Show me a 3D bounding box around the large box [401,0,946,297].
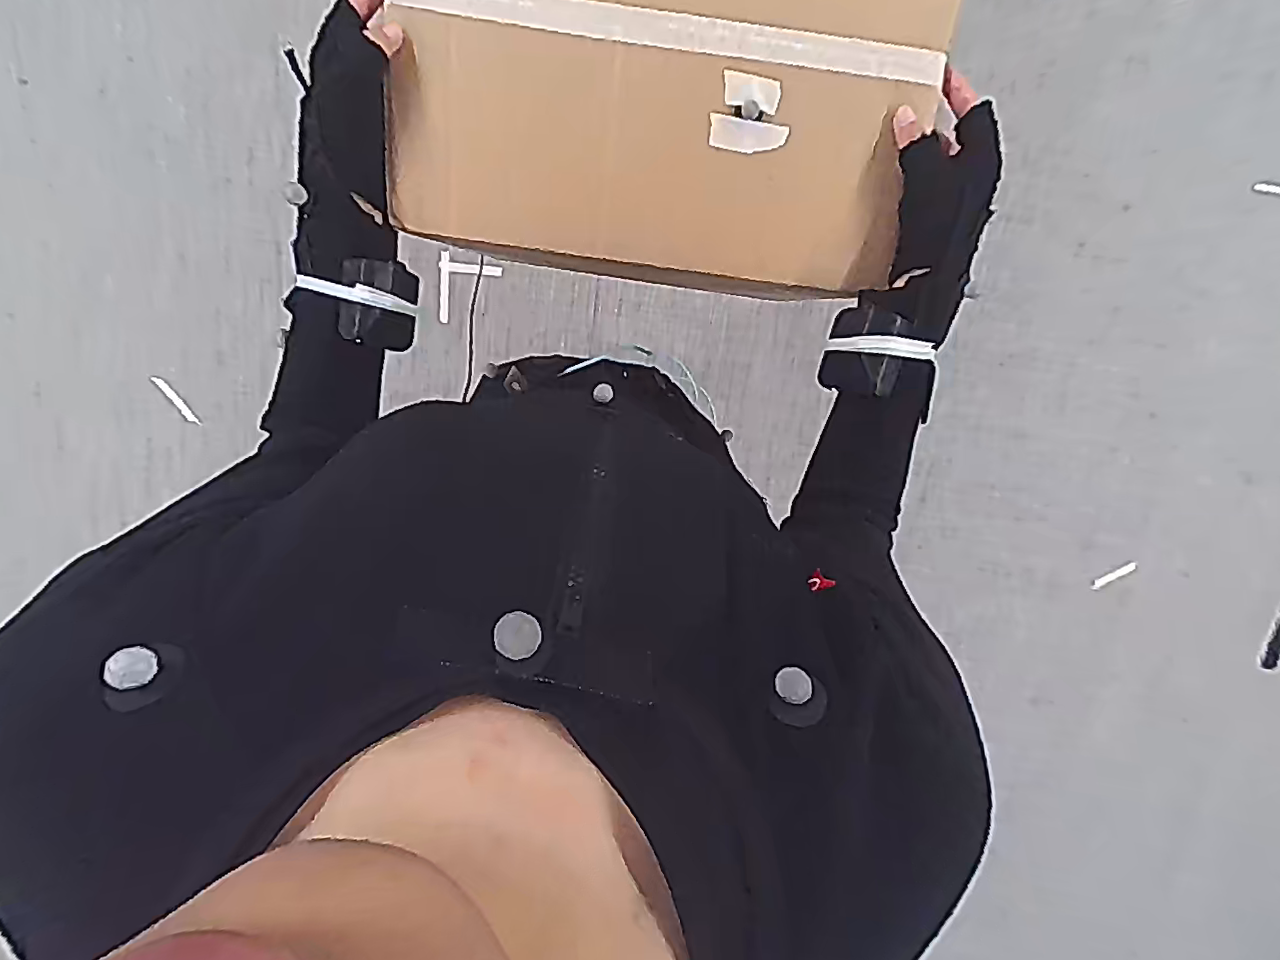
[{"bbox_3d":[0.019,-0.371,0.545,0.408,0.320,0.320,7,108,-3],"label":"large box"}]
